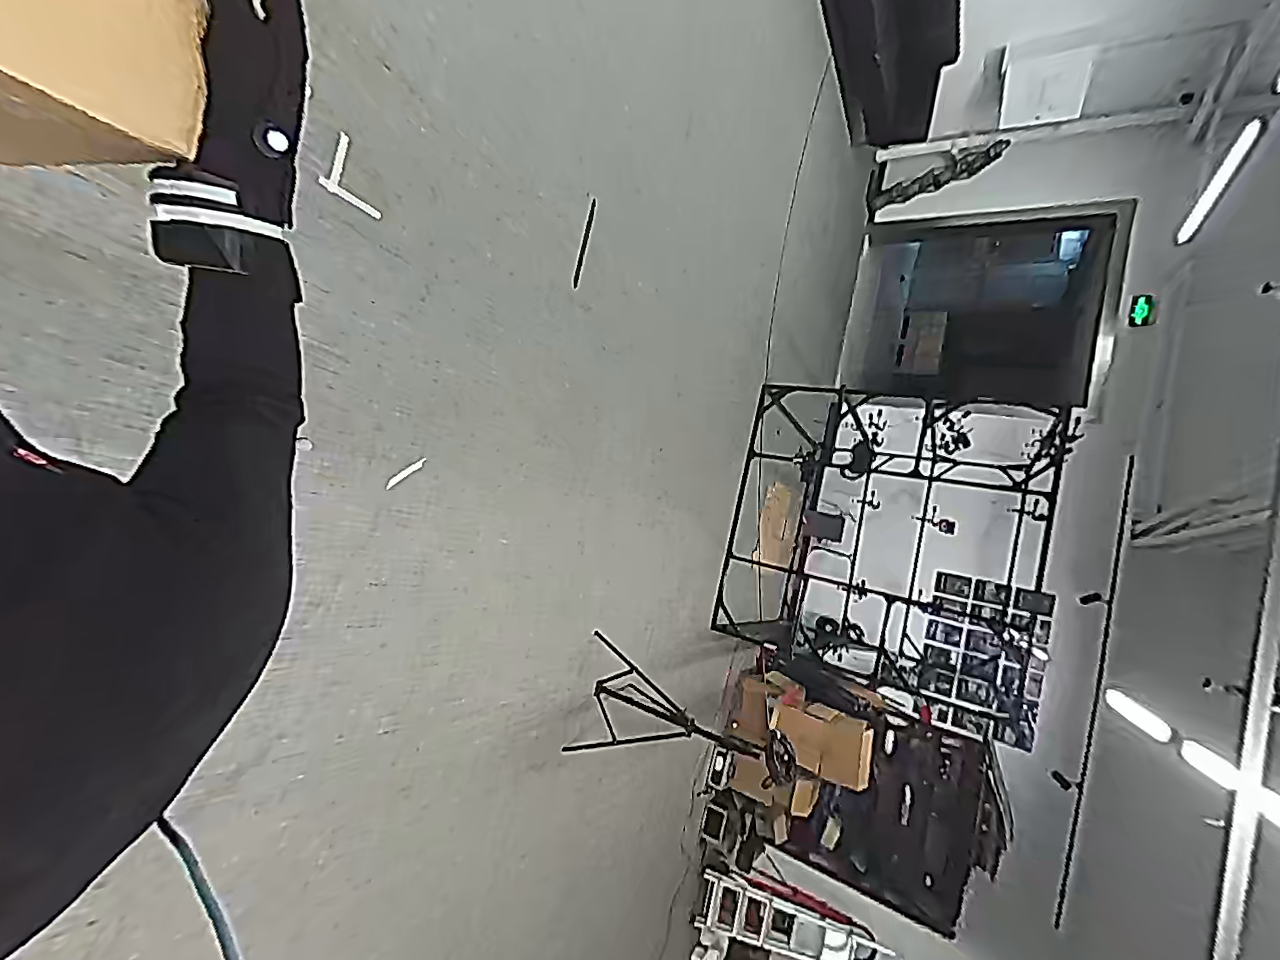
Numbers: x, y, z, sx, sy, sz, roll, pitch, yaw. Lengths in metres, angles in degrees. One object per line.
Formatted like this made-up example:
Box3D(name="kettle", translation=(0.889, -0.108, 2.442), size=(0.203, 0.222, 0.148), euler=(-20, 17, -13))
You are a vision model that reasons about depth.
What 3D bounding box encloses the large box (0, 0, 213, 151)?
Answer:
Box3D(name="large box", translation=(-0.506, -0.425, 0.258), size=(0.408, 0.320, 0.320), euler=(6, 98, -67))
